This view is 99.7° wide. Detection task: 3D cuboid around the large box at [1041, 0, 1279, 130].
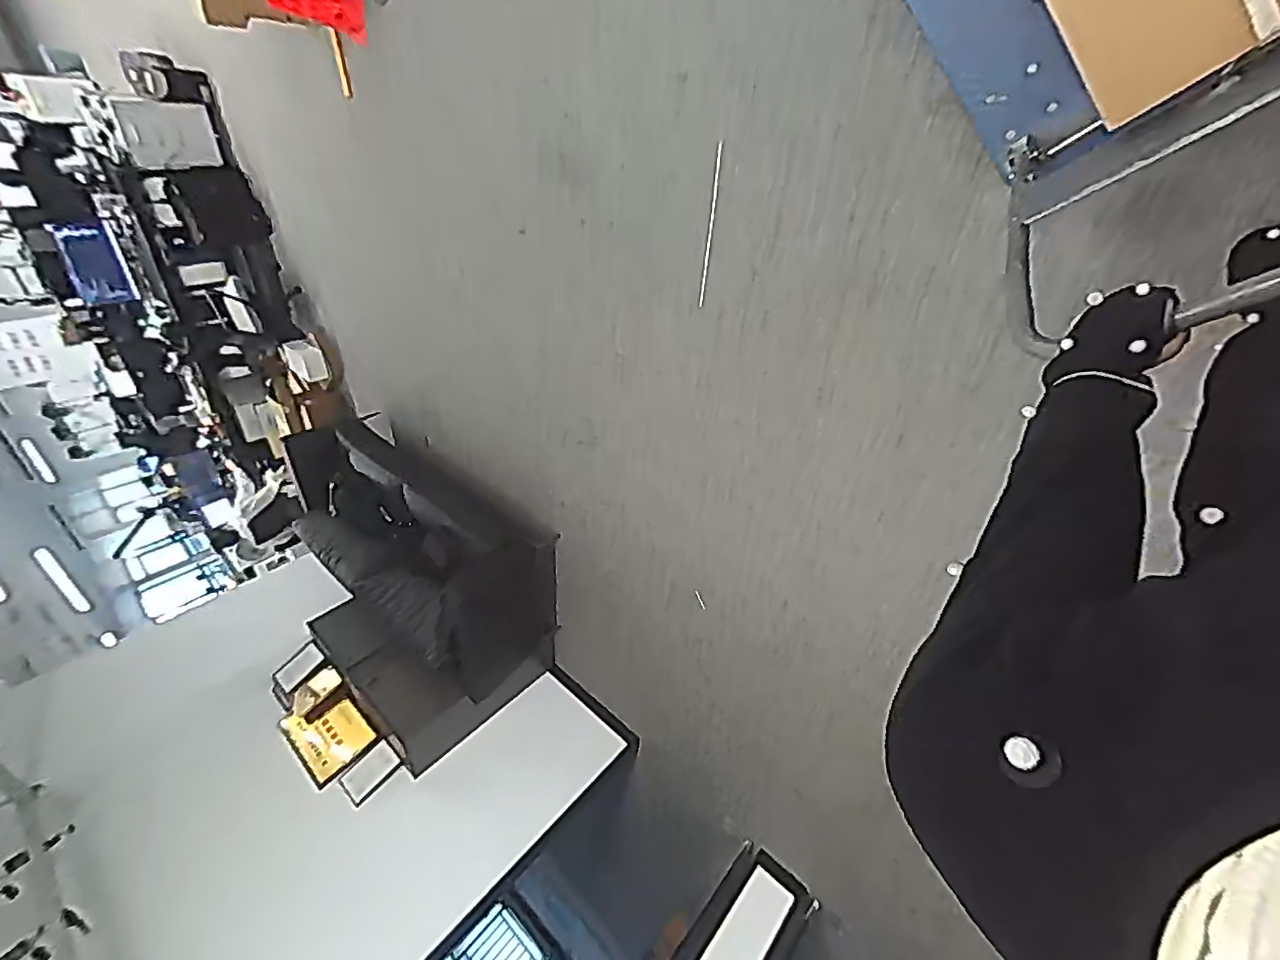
[{"bbox_3d":[0.723,-0.783,0.713,0.408,0.320,0.320,48,142,-15],"label":"large box"}]
